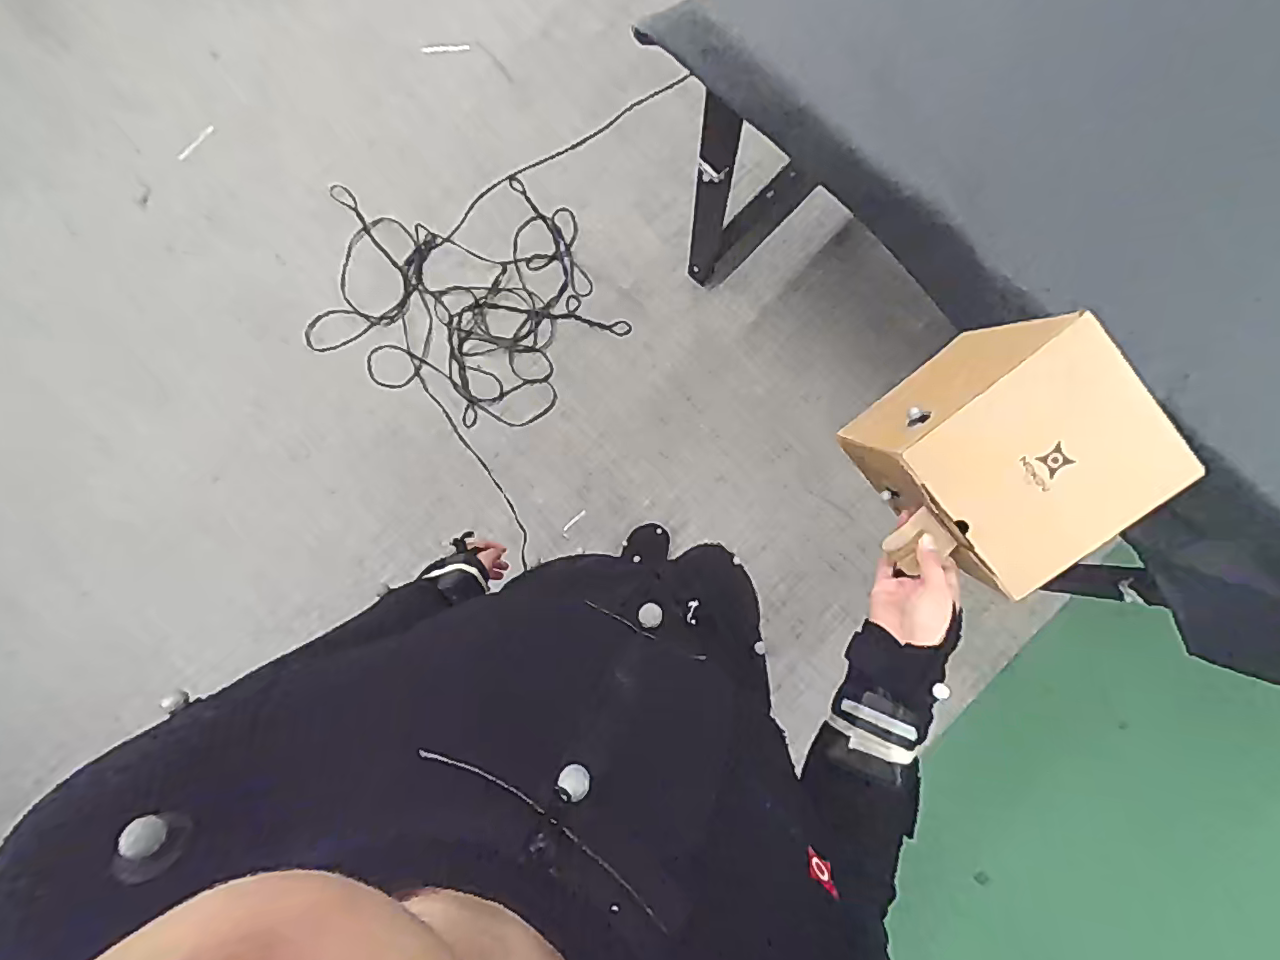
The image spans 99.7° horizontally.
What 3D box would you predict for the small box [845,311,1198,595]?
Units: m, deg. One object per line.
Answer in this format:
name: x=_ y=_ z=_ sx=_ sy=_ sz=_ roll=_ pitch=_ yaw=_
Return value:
small box: x=0.330 y=-0.031 z=0.510 sx=0.179 sy=0.176 sz=0.168 roll=-40 pitch=96 yaw=9
